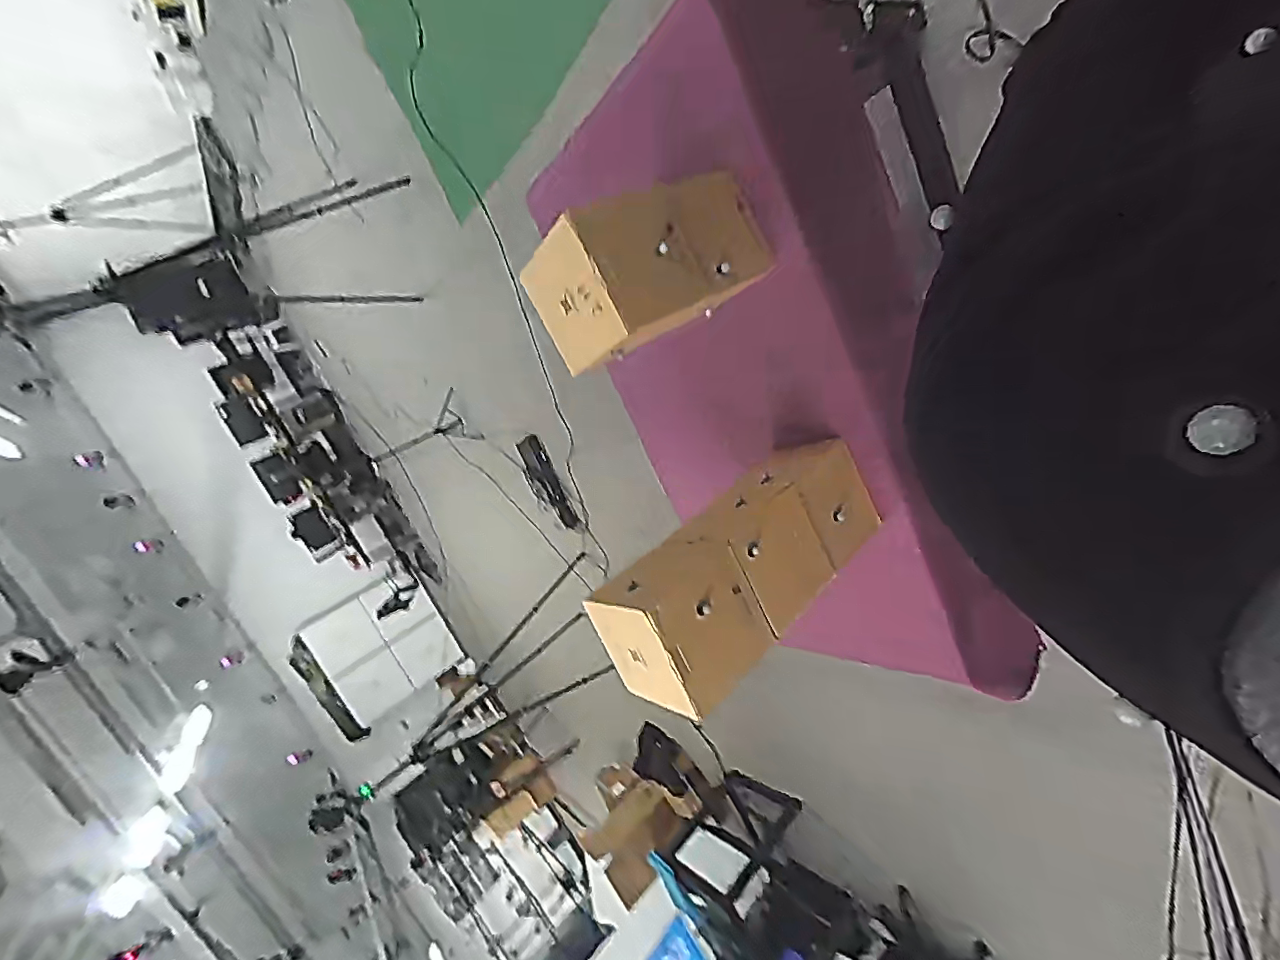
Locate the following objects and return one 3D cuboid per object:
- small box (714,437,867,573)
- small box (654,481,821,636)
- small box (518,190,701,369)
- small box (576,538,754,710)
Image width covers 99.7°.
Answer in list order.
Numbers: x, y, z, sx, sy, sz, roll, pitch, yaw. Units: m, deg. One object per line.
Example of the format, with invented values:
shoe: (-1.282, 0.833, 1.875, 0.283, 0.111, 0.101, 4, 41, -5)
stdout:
small box: (0.273, 0.046, 0.967, 0.168, 0.176, 0.179, -13, 107, 56)
small box: (0.161, 0.122, 0.876, 0.168, 0.176, 0.179, -13, 106, 57)
small box: (-0.044, -0.287, 0.787, 0.179, 0.176, 0.168, -15, 106, 57)
small box: (0.043, 0.195, 0.791, 0.179, 0.176, 0.168, -8, 109, 56)
